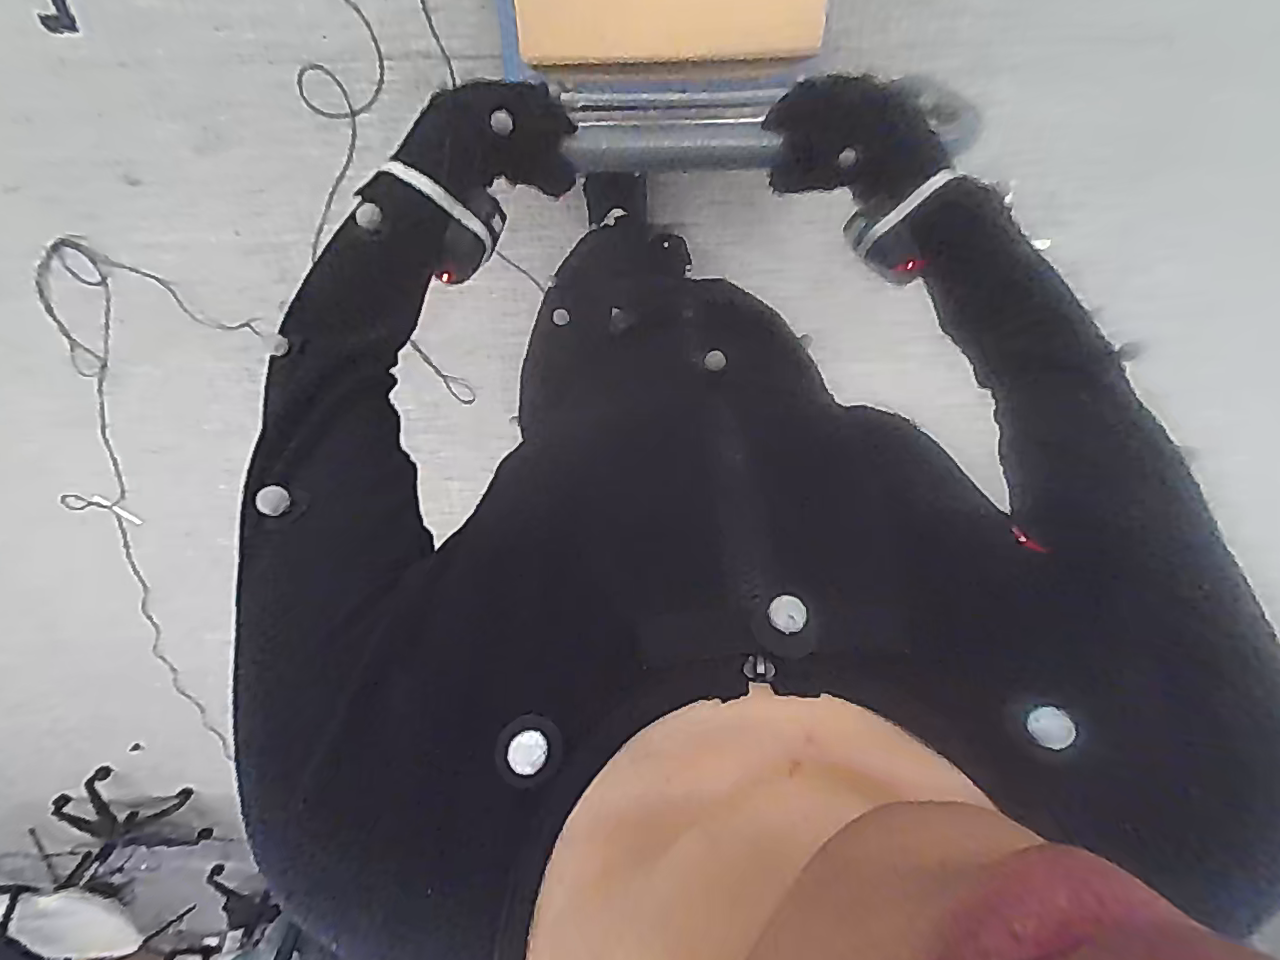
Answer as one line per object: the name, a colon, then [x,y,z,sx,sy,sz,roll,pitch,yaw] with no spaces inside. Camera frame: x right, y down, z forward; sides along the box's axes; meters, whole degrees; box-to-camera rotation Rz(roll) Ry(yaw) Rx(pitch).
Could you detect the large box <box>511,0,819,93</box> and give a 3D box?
large box: [0.023,-0.762,0.773,0.408,0.320,0.320,-3,123,-1]
